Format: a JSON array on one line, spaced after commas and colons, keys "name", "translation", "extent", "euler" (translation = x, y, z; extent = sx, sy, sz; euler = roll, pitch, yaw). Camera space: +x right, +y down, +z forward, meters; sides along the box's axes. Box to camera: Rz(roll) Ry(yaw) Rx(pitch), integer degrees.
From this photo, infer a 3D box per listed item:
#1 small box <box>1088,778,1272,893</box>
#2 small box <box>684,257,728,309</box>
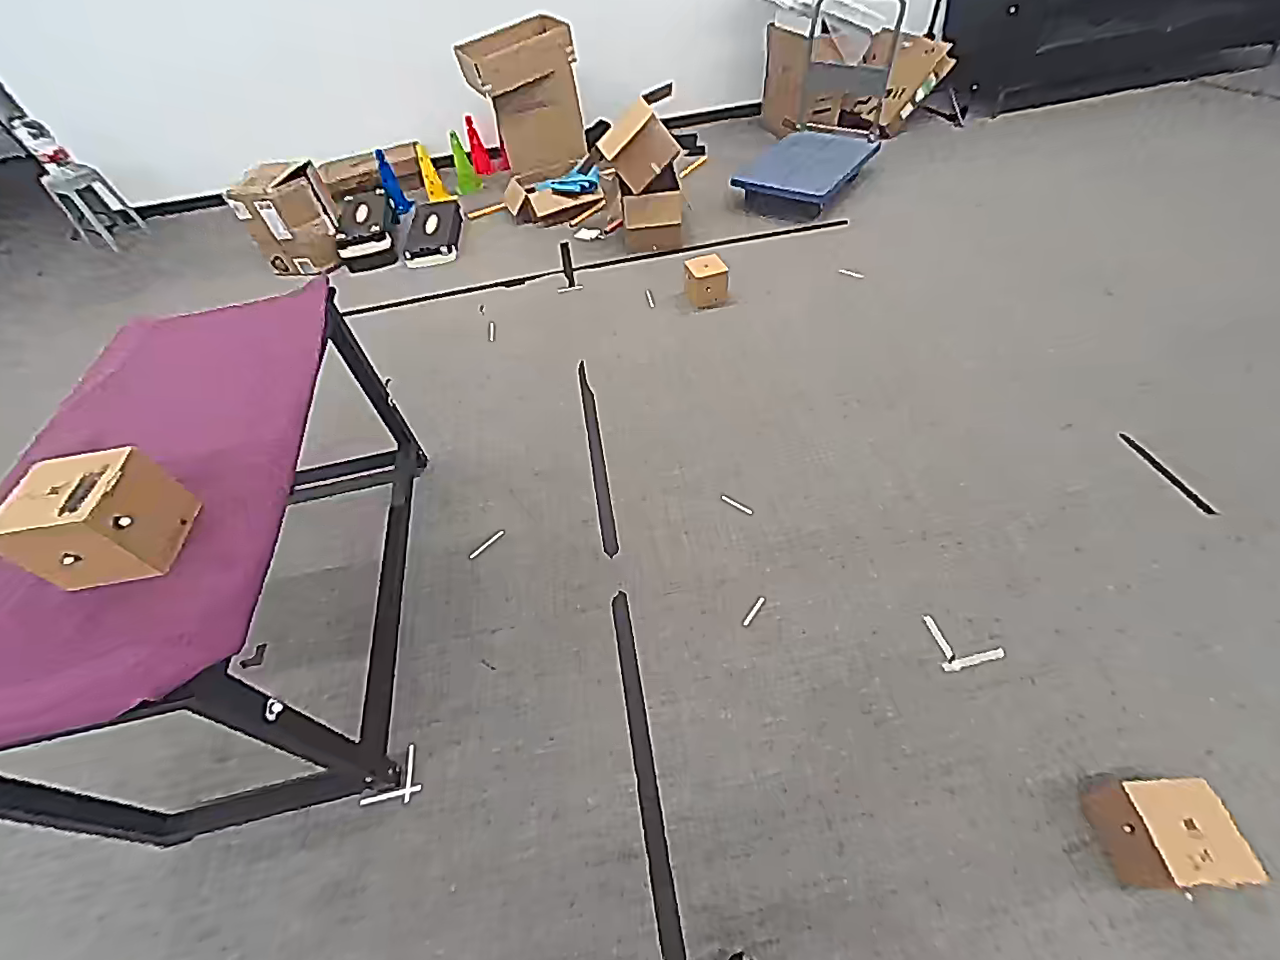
[{"name": "small box", "translation": [1.080, 0.727, 1.105], "extent": [0.168, 0.176, 0.179], "euler": [-5, 50, 4]}, {"name": "small box", "translation": [0.322, -0.952, 2.636], "extent": [0.168, 0.176, 0.179], "euler": [-17, 49, -7]}]
